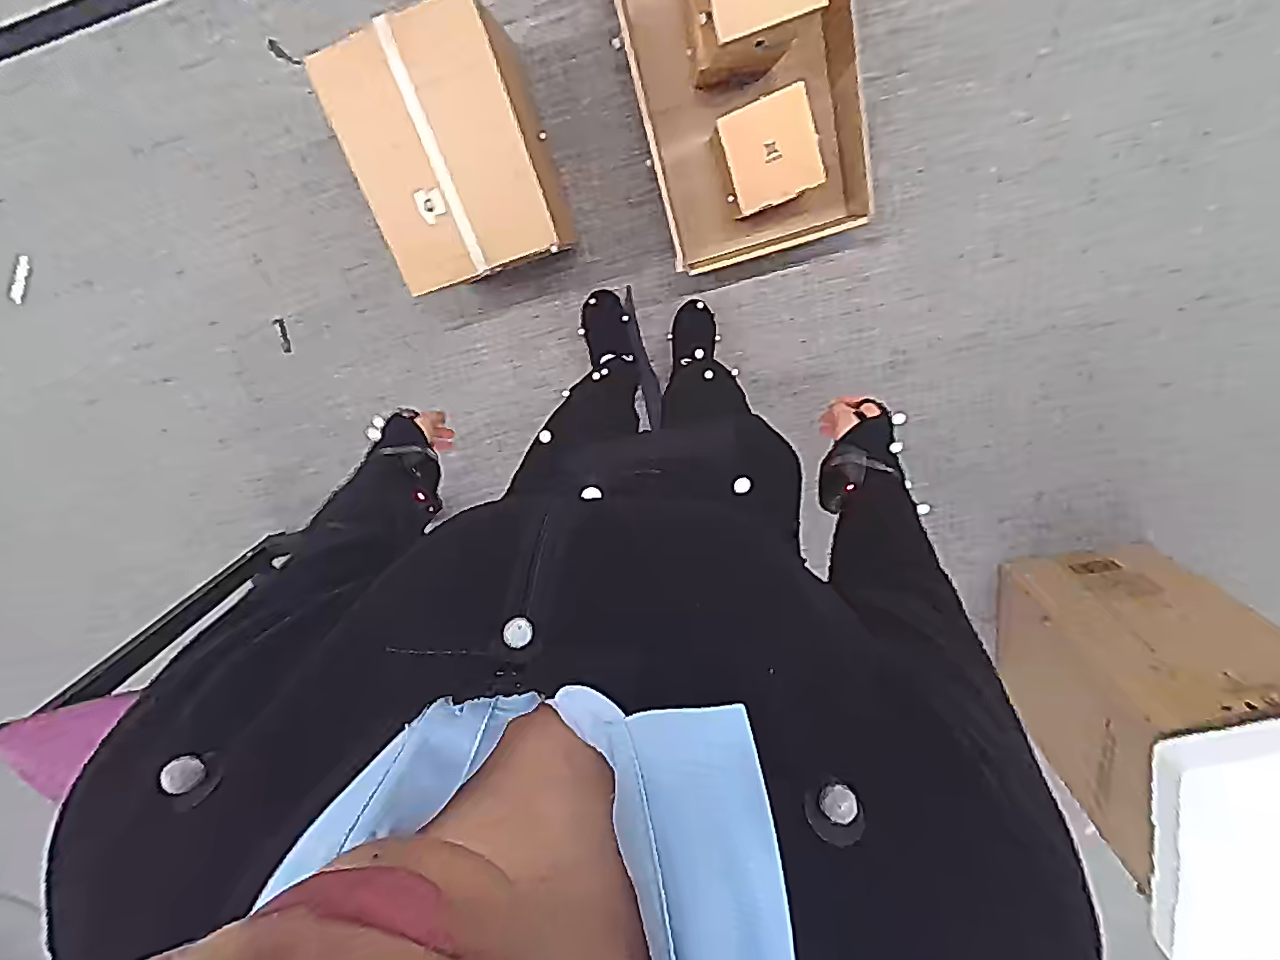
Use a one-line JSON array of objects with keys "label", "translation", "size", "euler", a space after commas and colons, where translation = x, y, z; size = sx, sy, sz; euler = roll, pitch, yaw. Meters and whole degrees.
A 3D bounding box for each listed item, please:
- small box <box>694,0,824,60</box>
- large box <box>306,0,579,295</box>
[{"label": "small box", "translation": [0.172, -0.787, 0.837], "size": [0.168, 0.176, 0.179], "euler": [-15, 115, 7]}, {"label": "large box", "translation": [-0.348, -0.635, 1.085], "size": [0.320, 0.320, 0.408], "euler": [-16, 114, 10]}]
